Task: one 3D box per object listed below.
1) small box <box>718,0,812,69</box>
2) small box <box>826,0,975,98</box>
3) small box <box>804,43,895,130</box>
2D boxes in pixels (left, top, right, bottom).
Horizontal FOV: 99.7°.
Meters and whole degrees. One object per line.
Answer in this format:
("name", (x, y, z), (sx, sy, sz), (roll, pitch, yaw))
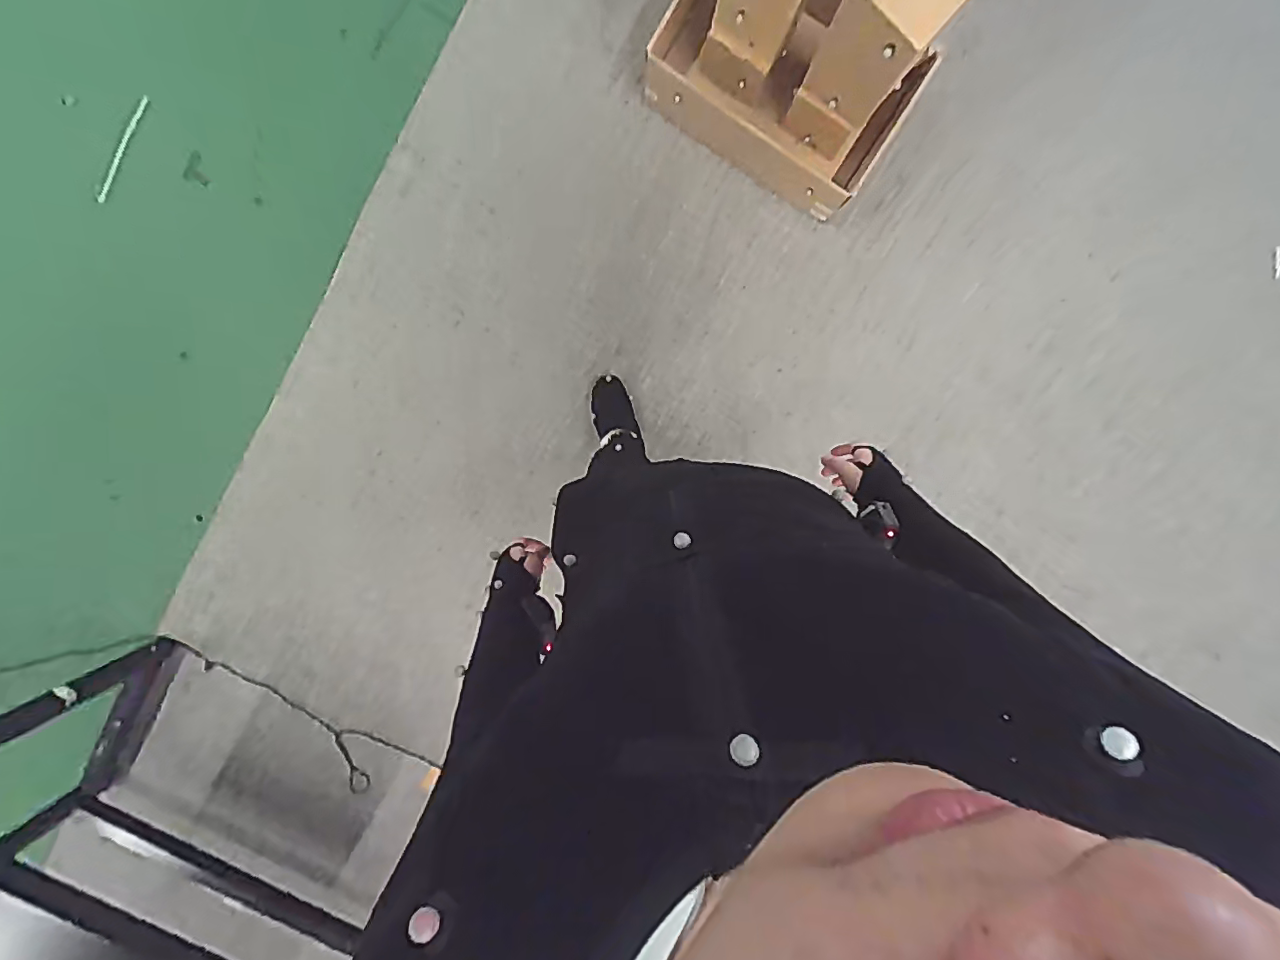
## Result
("small box", (0.284, -1.063, 1.184), (0.168, 0.176, 0.179), (29, 96, -5))
("small box", (0.494, -0.881, 1.033), (0.179, 0.176, 0.168), (43, 96, -4))
("small box", (0.496, -0.919, 1.195), (0.179, 0.176, 0.168), (35, 97, -4))
